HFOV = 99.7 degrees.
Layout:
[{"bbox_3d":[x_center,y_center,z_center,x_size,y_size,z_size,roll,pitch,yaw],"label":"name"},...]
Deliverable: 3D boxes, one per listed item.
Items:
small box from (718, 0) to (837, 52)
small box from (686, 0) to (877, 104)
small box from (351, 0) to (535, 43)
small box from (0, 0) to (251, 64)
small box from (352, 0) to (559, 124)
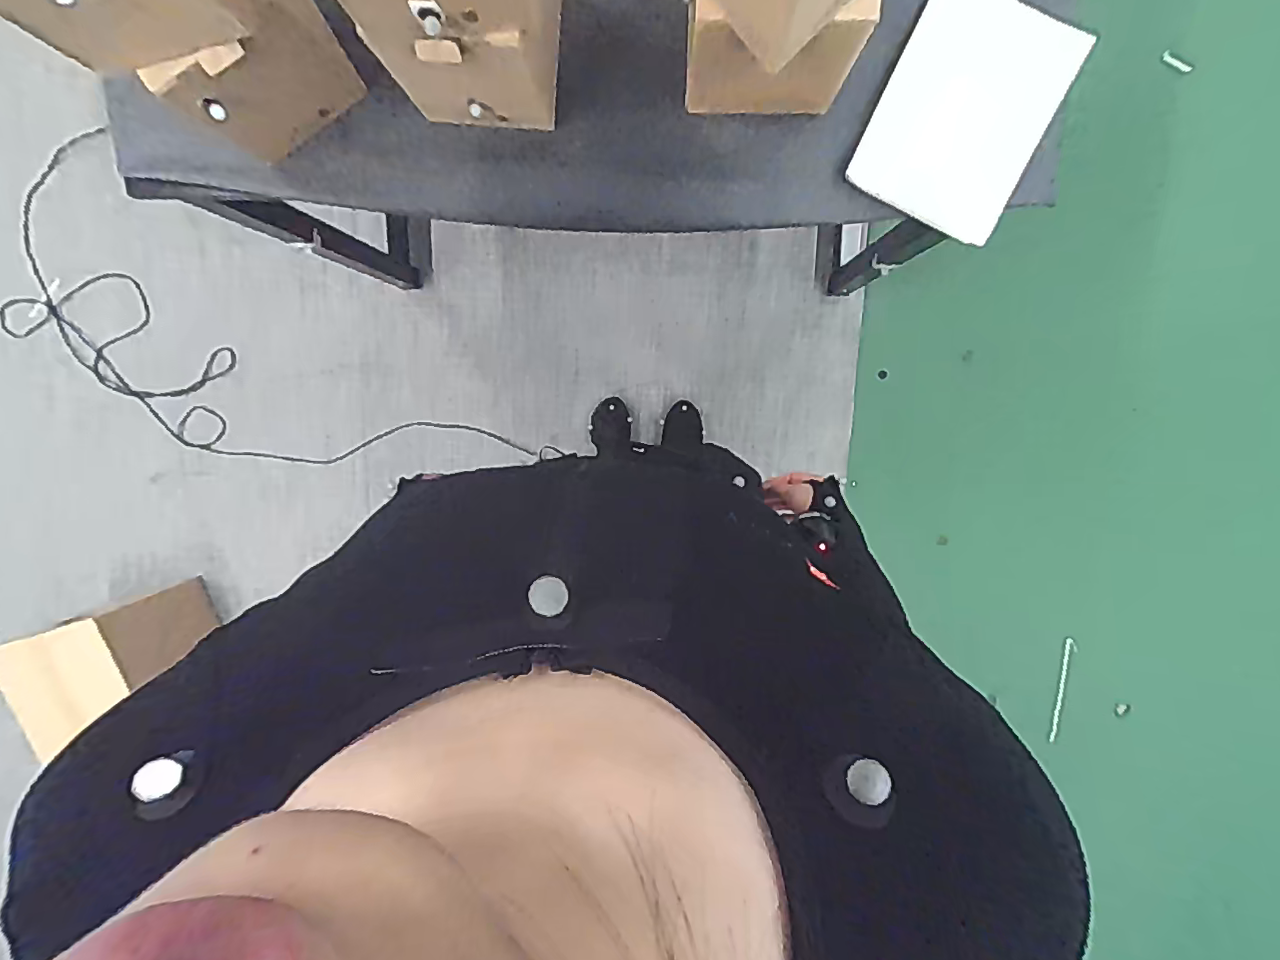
[{"bbox_3d":[0.121,-0.500,0.418,0.168,0.176,0.179,-42,95,8],"label":"small box"},{"bbox_3d":[0.142,-0.534,0.578,0.179,0.176,0.168,2,98,3],"label":"small box"},{"bbox_3d":[-0.192,-0.507,0.433,0.168,0.176,0.179,-6,98,5],"label":"small box"},{"bbox_3d":[-0.480,-0.493,0.447,0.179,0.176,0.168,-12,98,5],"label":"small box"},{"bbox_3d":[-0.188,-0.532,0.593,0.168,0.176,0.179,5,99,3],"label":"small box"}]
